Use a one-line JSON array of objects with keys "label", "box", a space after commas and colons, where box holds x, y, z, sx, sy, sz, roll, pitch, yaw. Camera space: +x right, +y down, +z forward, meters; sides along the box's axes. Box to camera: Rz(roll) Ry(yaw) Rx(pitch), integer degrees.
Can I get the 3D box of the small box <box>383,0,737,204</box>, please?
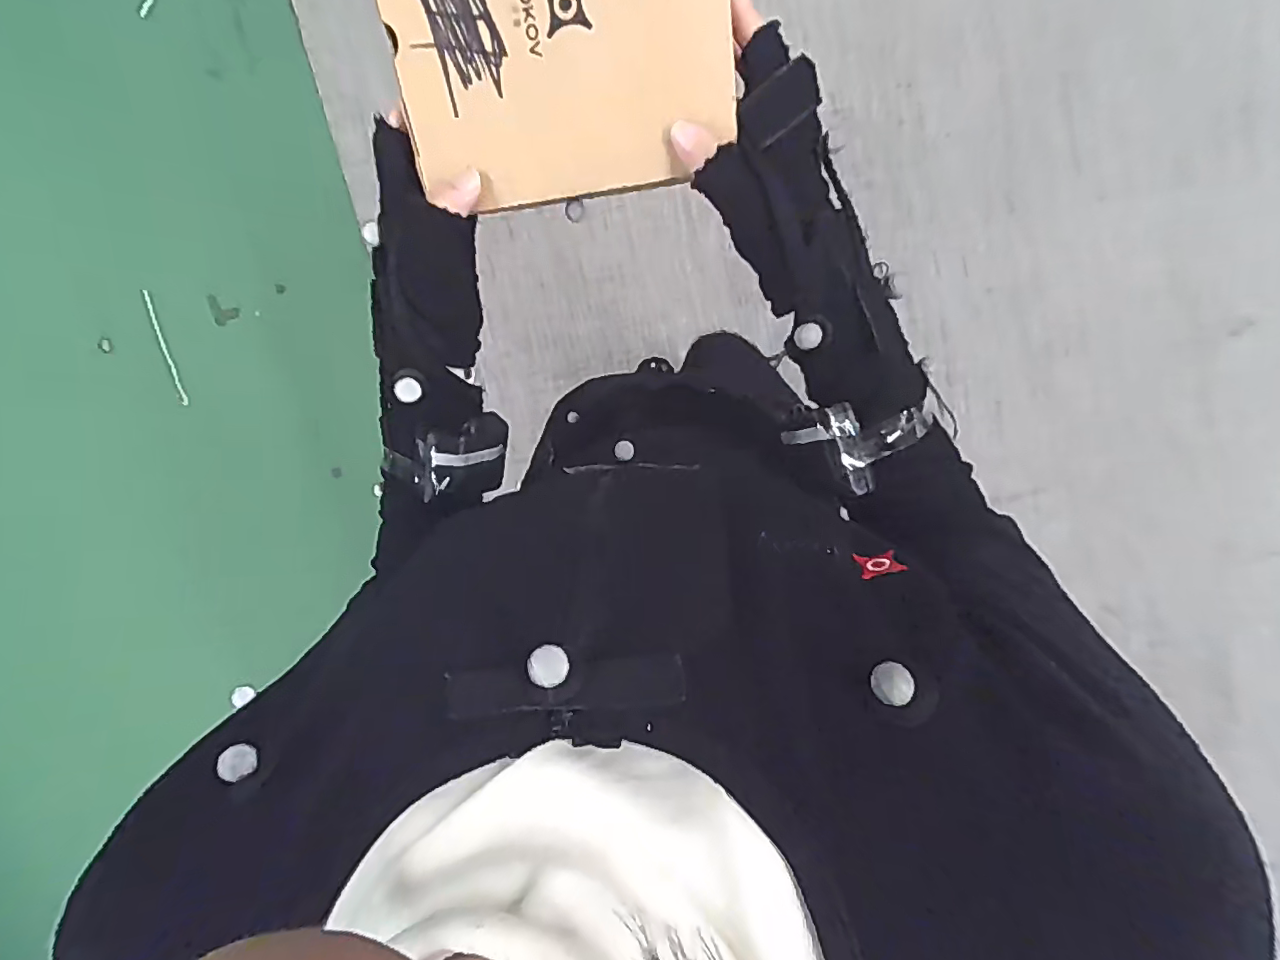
[{"label": "small box", "box": [-0.036, -0.274, 0.336, 0.179, 0.176, 0.168, -6, 117, 8]}]
